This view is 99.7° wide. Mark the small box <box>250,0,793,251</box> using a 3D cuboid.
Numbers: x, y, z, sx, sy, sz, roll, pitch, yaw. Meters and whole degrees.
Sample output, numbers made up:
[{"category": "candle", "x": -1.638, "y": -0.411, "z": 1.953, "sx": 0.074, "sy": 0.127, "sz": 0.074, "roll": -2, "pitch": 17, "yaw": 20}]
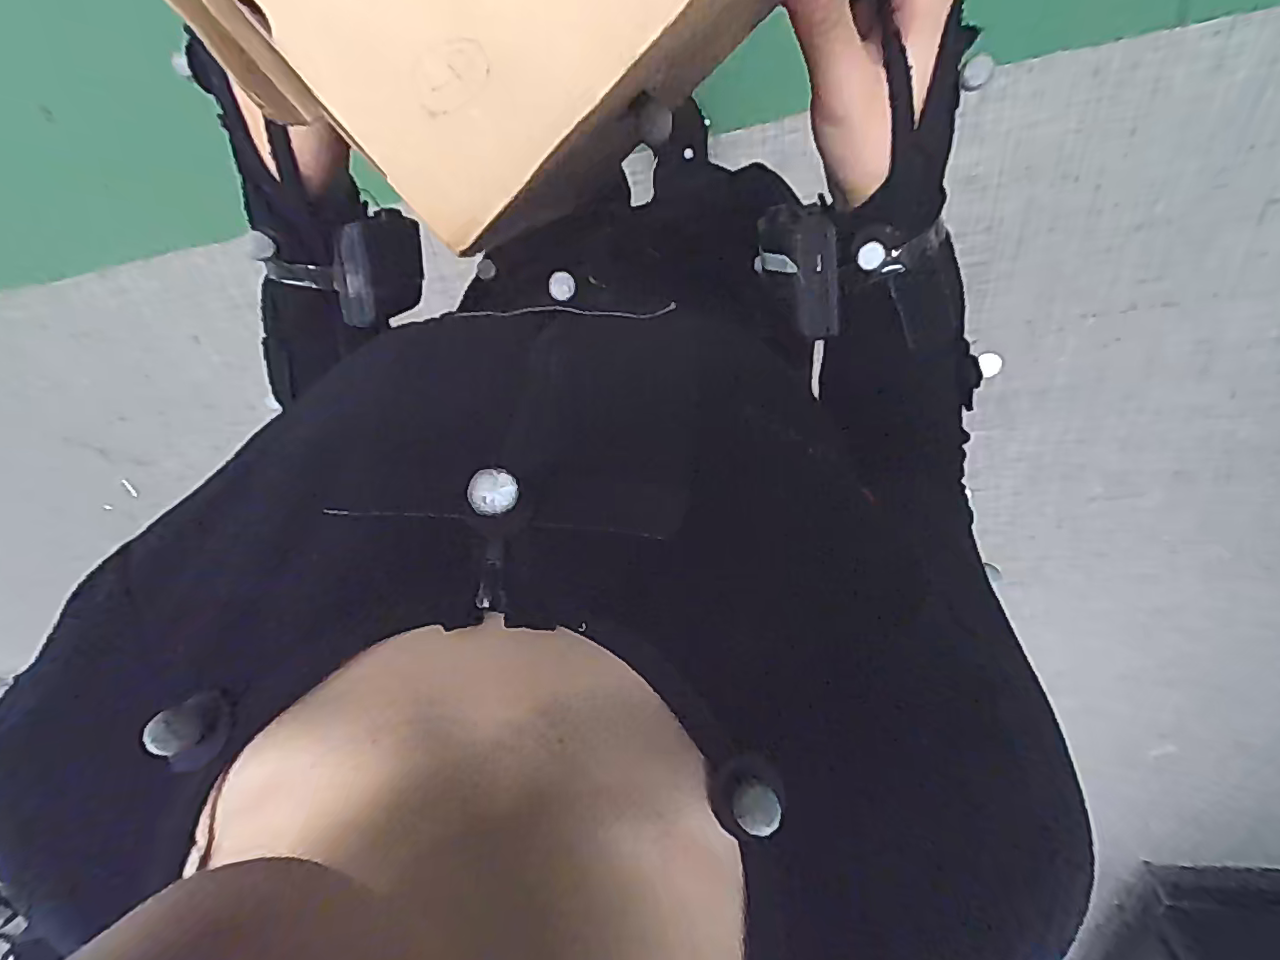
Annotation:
[{"category": "small box", "x": -0.034, "y": -0.222, "z": 0.202, "sx": 0.179, "sy": 0.176, "sz": 0.168, "roll": -33, "pitch": 111, "yaw": 27}]
